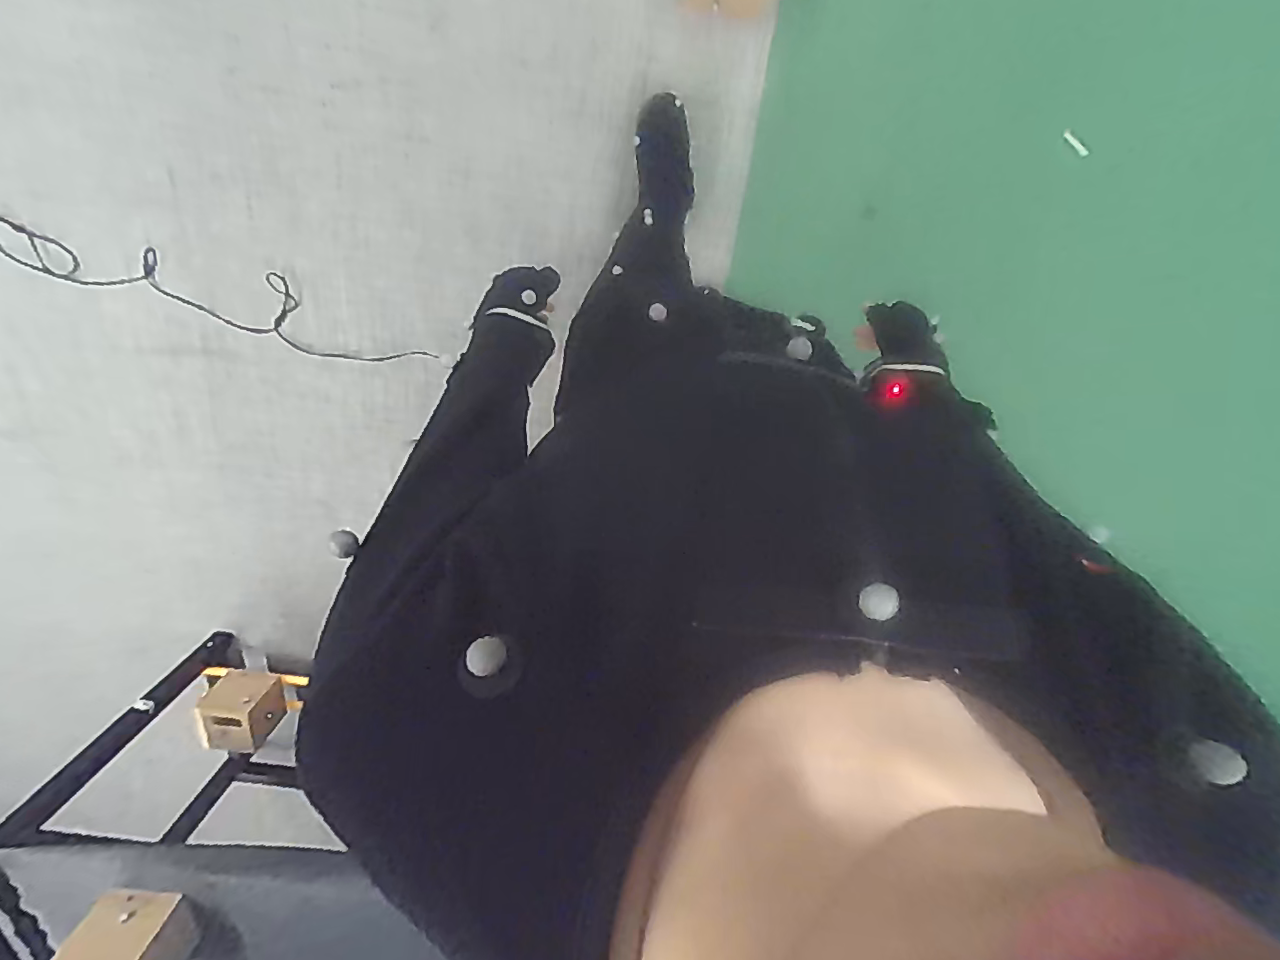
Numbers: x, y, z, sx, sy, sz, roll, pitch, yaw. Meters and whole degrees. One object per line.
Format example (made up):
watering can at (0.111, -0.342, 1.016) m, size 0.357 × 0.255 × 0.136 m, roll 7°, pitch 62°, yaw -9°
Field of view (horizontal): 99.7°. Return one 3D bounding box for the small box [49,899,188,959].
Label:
small box at (-1.109, 1.032, 1.141) m, size 0.168 × 0.176 × 0.179 m, roll 7°, pitch 115°, yaw -2°
